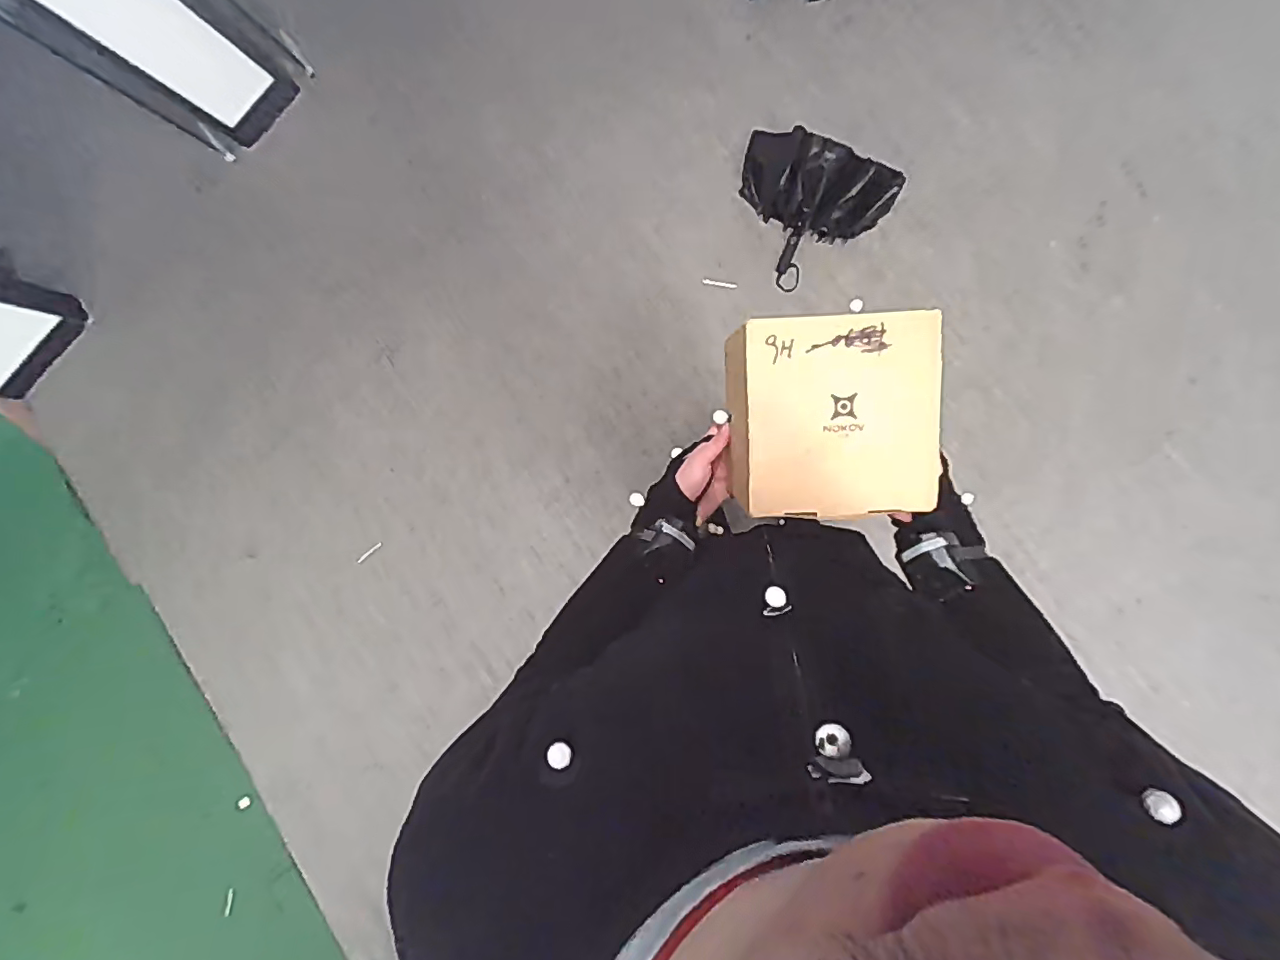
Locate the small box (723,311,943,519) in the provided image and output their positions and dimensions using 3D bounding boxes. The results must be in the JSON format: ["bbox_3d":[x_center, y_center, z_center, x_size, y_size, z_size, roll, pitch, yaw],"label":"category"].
[{"bbox_3d":[0.175,-0.065,0.542,0.168,0.176,0.179,-2,98,3],"label":"small box"}]
